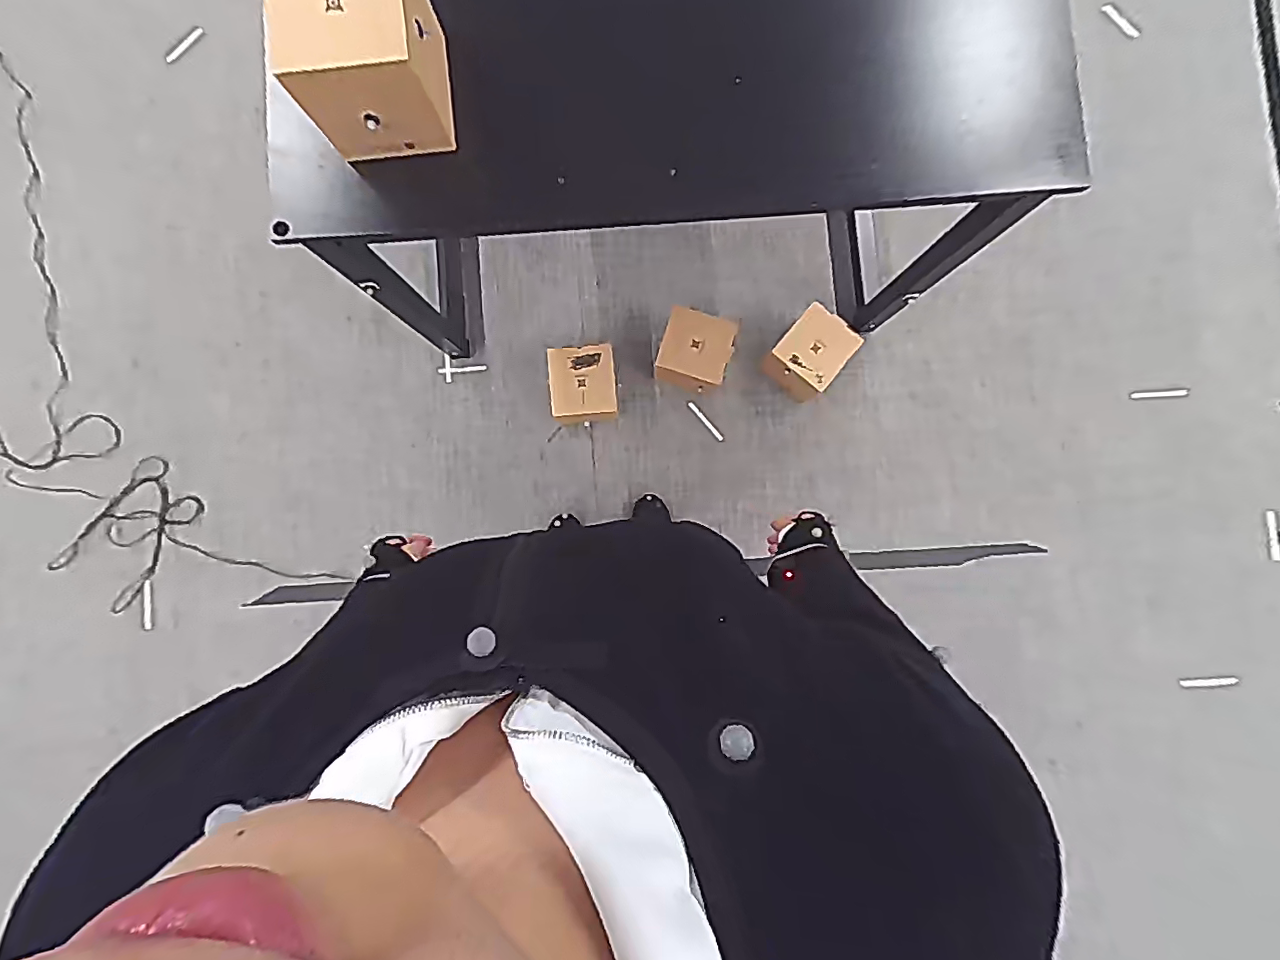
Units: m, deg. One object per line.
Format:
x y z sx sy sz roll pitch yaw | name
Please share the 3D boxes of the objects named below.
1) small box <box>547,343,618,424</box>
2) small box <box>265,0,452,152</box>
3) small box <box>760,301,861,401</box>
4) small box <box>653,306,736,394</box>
-0.149 -0.252 1.440 0.168 0.176 0.179 -5 89 0 | small box
-0.363 -0.568 0.722 0.168 0.176 0.179 -6 87 -1 | small box
0.443 -0.336 1.442 0.168 0.176 0.179 40 88 2 | small box
0.140 -0.338 1.445 0.179 0.176 0.168 17 87 2 | small box
